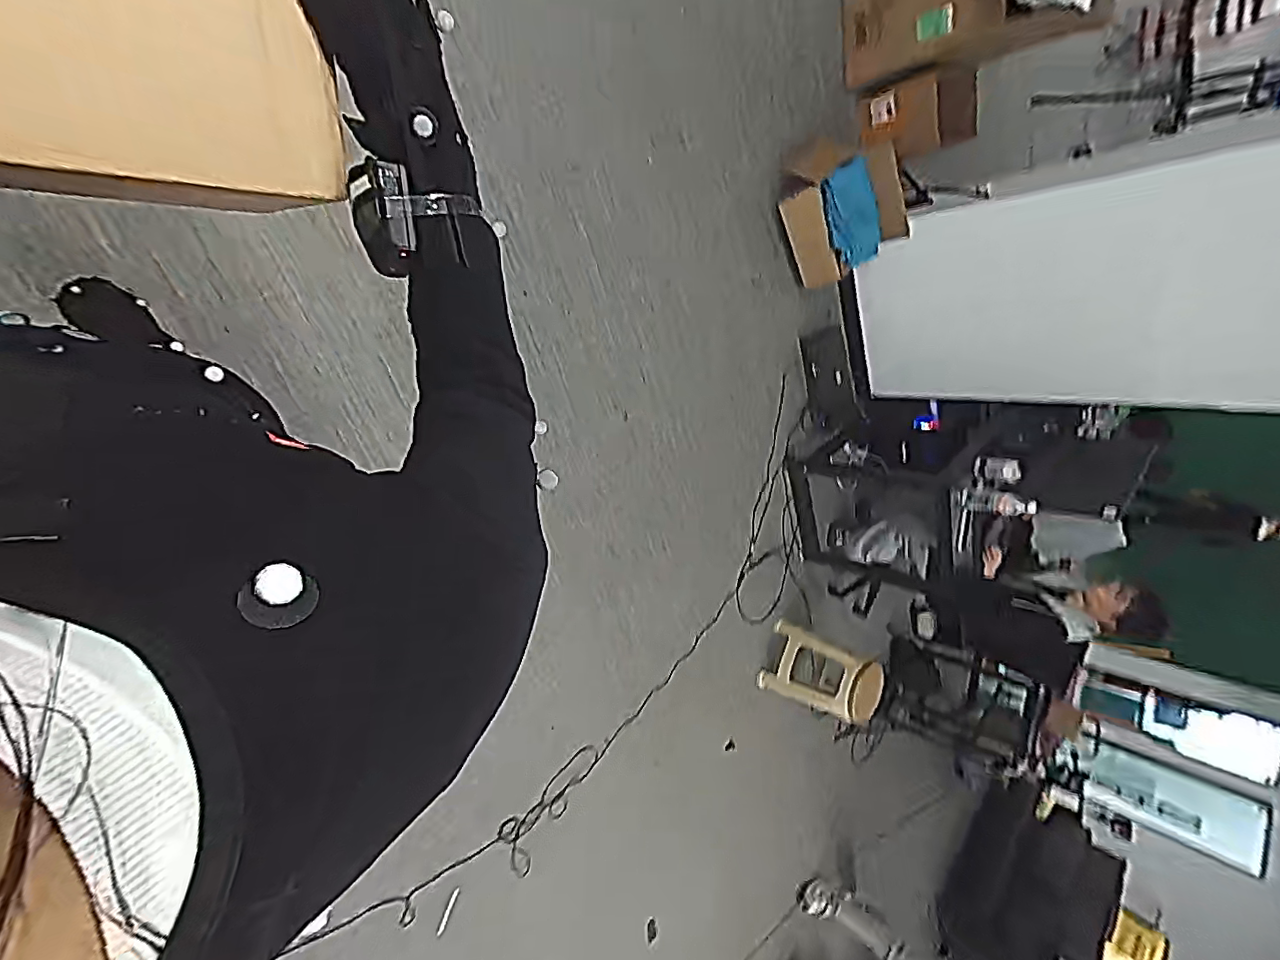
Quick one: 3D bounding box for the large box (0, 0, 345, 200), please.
[{"bbox_3d":[-0.457,-0.357,0.317,0.408,0.320,0.320,-16,120,-39],"label":"large box"}]
